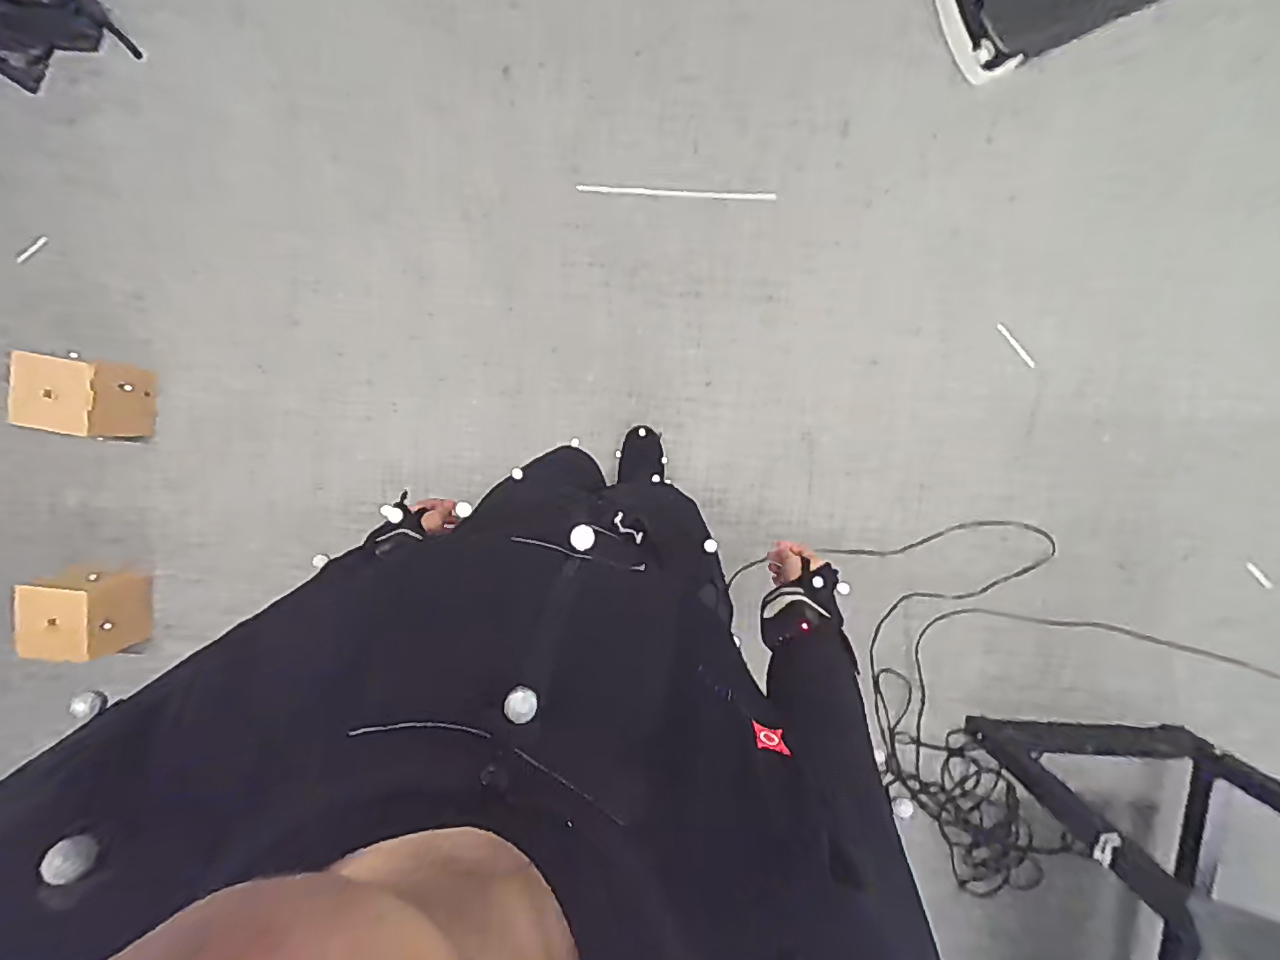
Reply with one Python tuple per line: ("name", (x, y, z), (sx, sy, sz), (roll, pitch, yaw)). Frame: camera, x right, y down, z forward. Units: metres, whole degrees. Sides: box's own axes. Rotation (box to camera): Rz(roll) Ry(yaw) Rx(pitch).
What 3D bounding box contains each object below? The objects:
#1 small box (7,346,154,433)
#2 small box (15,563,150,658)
("small box", (-1.290, -0.206, 1.258), (0.179, 0.176, 0.168), (10, 95, 0))
("small box", (-1.347, 0.311, 1.318), (0.168, 0.176, 0.179), (6, 97, -1))
